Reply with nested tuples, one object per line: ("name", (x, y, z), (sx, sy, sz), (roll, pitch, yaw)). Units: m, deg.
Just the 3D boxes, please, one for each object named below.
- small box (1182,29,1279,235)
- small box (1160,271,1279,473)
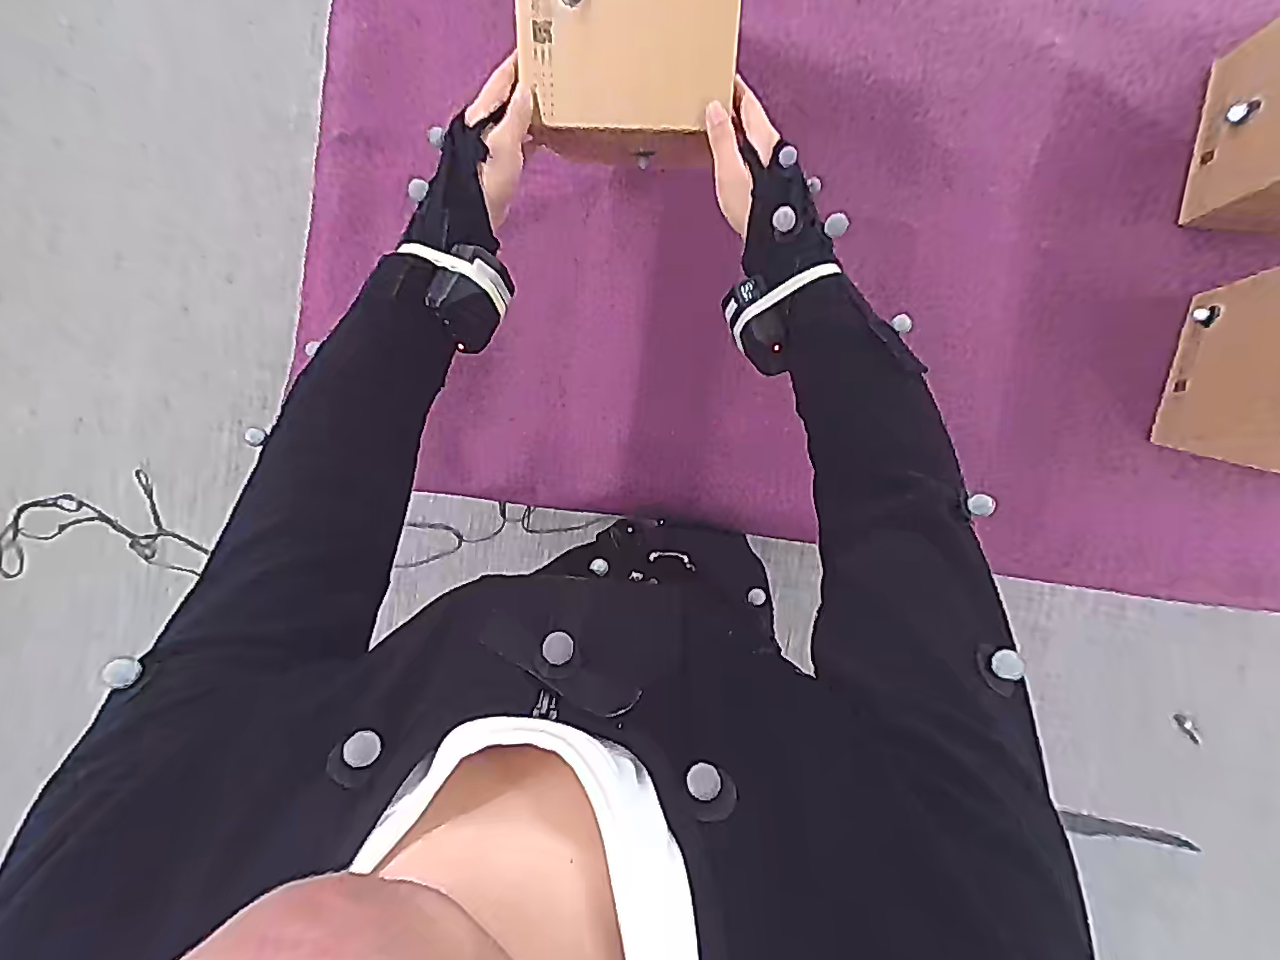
("small box", (0.659, -0.330, 0.478), (0.179, 0.176, 0.168), (9, 94, 5))
("small box", (0.645, -0.095, 0.491), (0.179, 0.176, 0.168), (15, 93, 5))
